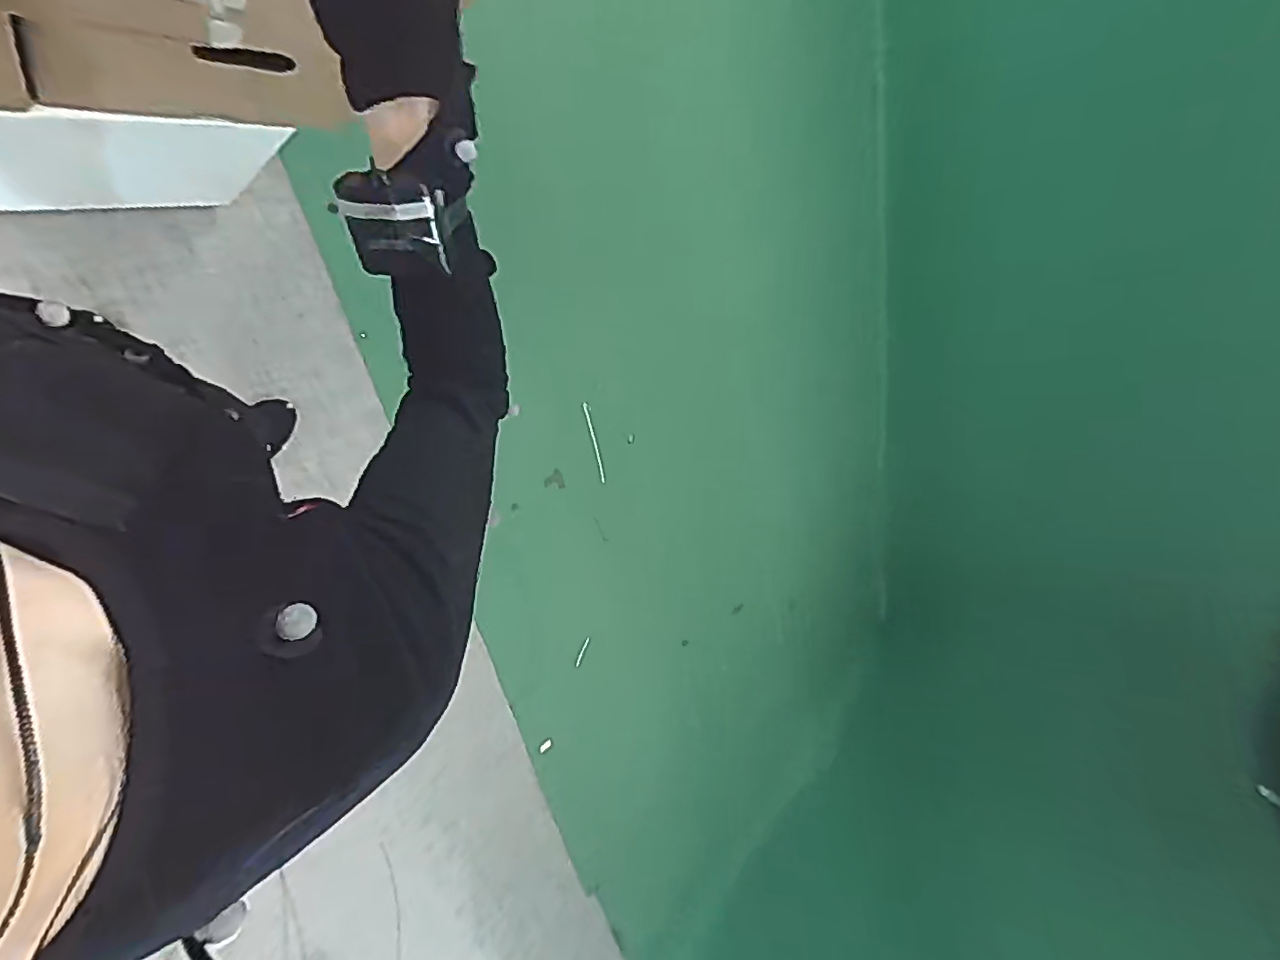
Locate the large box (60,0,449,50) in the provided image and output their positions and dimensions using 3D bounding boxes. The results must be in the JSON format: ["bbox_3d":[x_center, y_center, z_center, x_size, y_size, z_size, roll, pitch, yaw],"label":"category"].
[{"bbox_3d":[-0.270,-0.534,0.274,0.320,0.320,0.408,-23,114,-38],"label":"large box"}]
